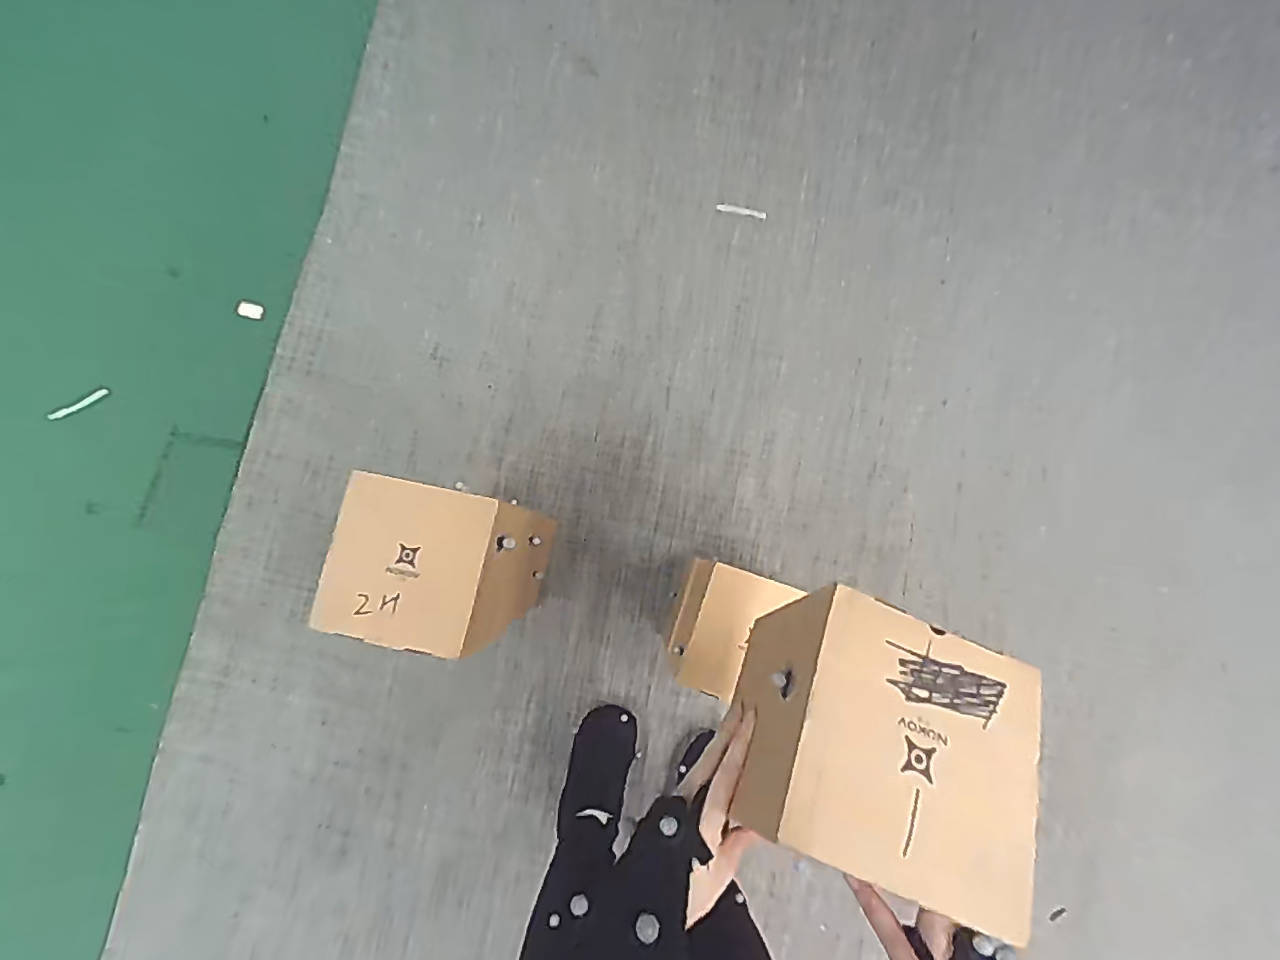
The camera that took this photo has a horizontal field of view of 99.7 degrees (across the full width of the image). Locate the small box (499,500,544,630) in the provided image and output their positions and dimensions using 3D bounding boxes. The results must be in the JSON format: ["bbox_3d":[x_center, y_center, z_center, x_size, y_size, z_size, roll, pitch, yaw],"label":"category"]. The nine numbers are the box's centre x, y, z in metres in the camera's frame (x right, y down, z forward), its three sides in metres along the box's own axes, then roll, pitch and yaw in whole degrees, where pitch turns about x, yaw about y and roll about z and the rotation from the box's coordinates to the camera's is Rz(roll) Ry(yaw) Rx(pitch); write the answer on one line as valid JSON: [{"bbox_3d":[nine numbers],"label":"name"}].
[{"bbox_3d":[-0.250,0.111,0.812,0.168,0.176,0.179,12,84,2],"label":"small box"}]

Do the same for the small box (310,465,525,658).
[{"bbox_3d":[-0.246,0.094,0.648,0.168,0.176,0.179,12,83,2],"label":"small box"}]

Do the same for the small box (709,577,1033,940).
[{"bbox_3d":[0.170,0.205,0.433,0.168,0.176,0.179,23,65,1],"label":"small box"}]

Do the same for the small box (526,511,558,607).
[{"bbox_3d":[-0.255,0.129,0.974,0.168,0.176,0.179,15,84,1],"label":"small box"}]

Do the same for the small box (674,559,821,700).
[{"bbox_3d":[0.154,0.223,0.805,0.168,0.176,0.179,18,84,1],"label":"small box"}]
